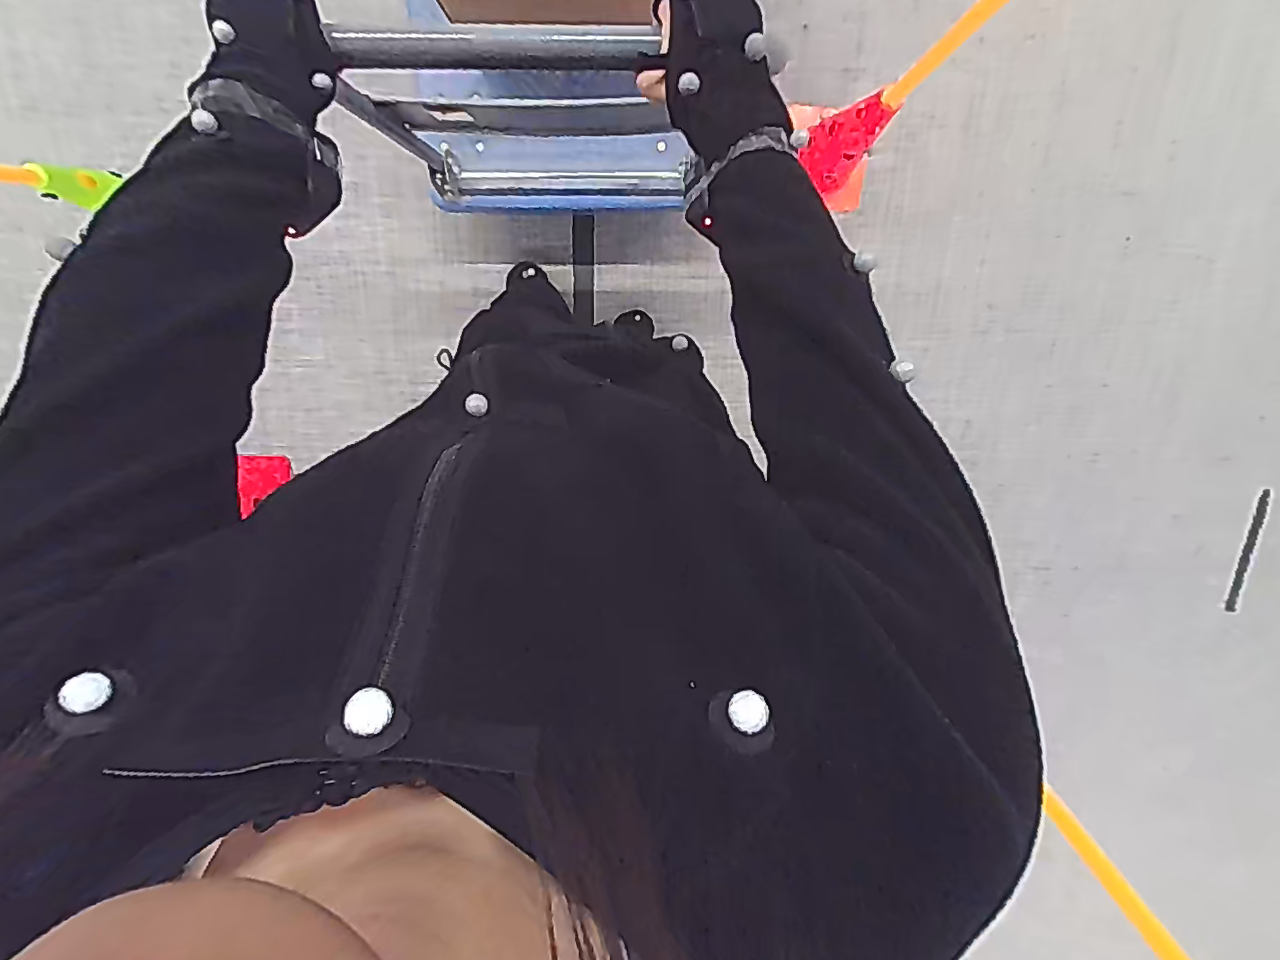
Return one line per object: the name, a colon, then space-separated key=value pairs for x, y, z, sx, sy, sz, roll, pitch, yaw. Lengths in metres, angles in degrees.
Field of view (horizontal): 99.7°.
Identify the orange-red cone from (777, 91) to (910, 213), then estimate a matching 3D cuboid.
orange-red cone: x=0.422 y=-0.667 z=1.050 sx=0.199 sy=0.360 sz=0.198 roll=7 pitch=107 yaw=-4
